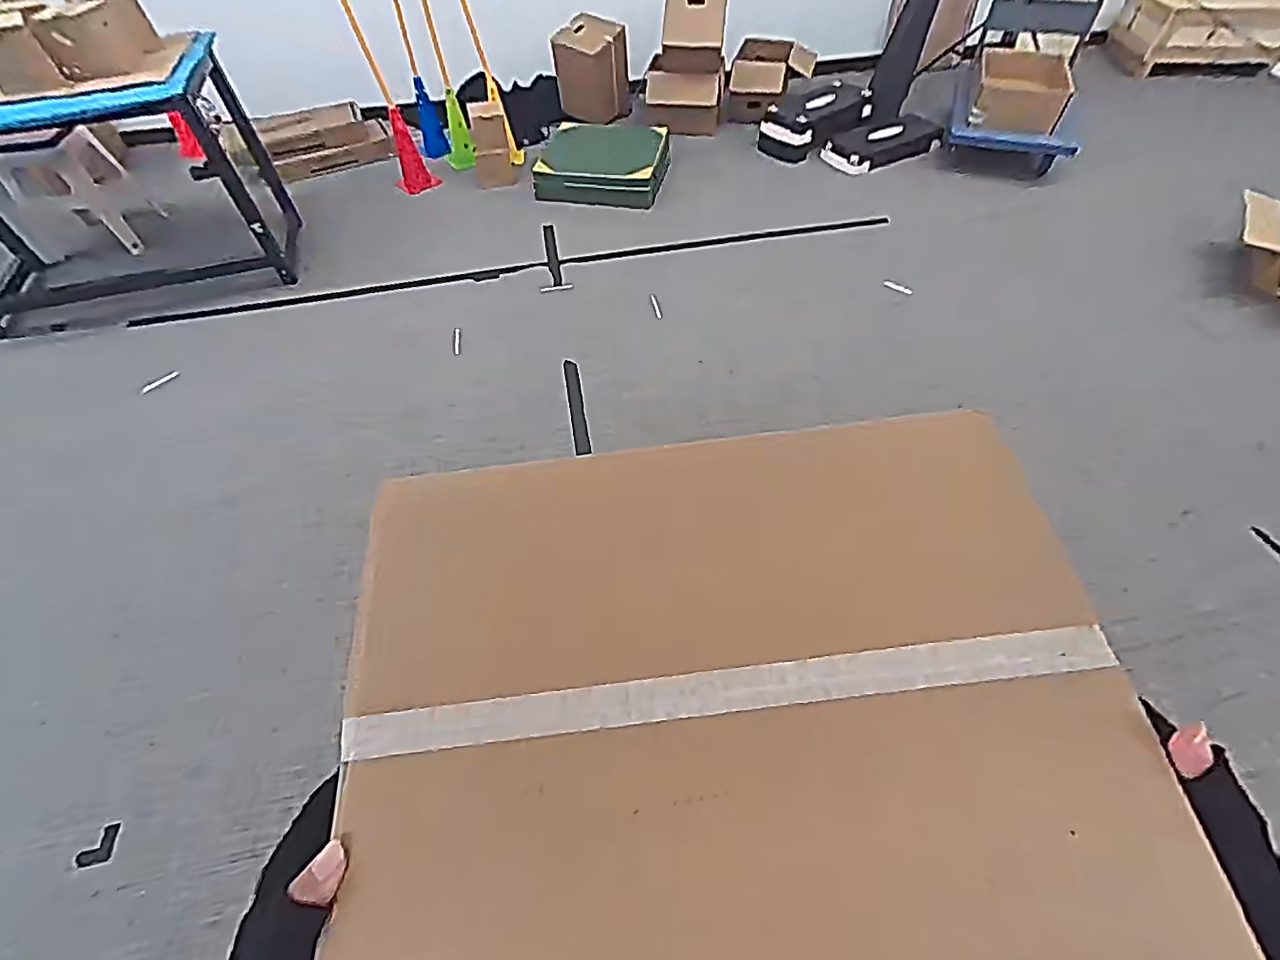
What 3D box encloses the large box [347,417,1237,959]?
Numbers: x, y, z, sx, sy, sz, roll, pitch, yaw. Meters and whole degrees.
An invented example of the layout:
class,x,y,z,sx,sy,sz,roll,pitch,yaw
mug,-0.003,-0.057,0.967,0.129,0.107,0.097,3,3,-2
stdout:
class,x,y,z,sx,sy,sz,roll,pitch,yaw
large box,0.056,0.186,0.431,0.408,0.320,0.320,-7,63,0
